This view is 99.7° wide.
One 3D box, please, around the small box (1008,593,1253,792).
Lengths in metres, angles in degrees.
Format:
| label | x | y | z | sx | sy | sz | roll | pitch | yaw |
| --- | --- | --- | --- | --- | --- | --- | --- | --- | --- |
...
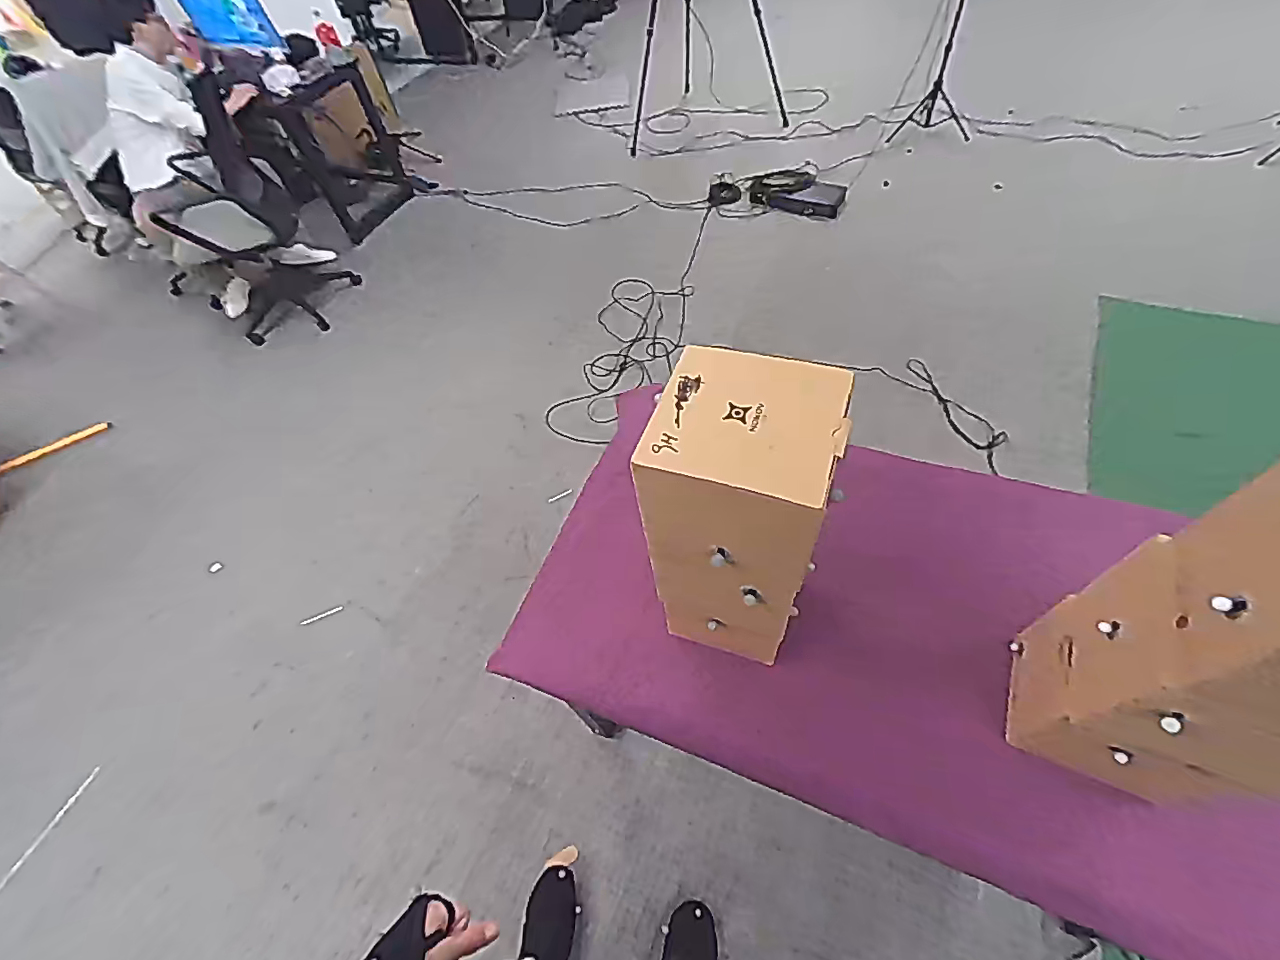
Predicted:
| label | x | y | z | sx | sy | sz | roll | pitch | yaw |
| --- | --- | --- | --- | --- | --- | --- | --- | --- | --- |
| small box | 0.610 | 0.278 | 0.698 | 0.179 | 0.176 | 0.168 | 18 | 60 | 20 |

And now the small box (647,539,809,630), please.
| label | x | y | z | sx | sy | sz | roll | pitch | yaw |
| --- | --- | --- | --- | --- | --- | --- | --- | --- | --- |
| small box | 0.128 | 0.078 | 0.711 | 0.179 | 0.176 | 0.168 | 15 | 59 | 19 |

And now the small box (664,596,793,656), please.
| label | x | y | z | sx | sy | sz | roll | pitch | yaw |
| --- | --- | --- | --- | --- | --- | --- | --- | --- | --- |
| small box | 0.151 | 0.160 | 0.854 | 0.179 | 0.176 | 0.168 | 13 | 59 | 18 |

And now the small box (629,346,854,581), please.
| label | x | y | z | sx | sy | sz | roll | pitch | yaw |
| --- | --- | --- | --- | --- | --- | --- | --- | --- | --- |
| small box | 0.107 | -0.011 | 0.576 | 0.179 | 0.176 | 0.168 | 15 | 59 | 17 |
